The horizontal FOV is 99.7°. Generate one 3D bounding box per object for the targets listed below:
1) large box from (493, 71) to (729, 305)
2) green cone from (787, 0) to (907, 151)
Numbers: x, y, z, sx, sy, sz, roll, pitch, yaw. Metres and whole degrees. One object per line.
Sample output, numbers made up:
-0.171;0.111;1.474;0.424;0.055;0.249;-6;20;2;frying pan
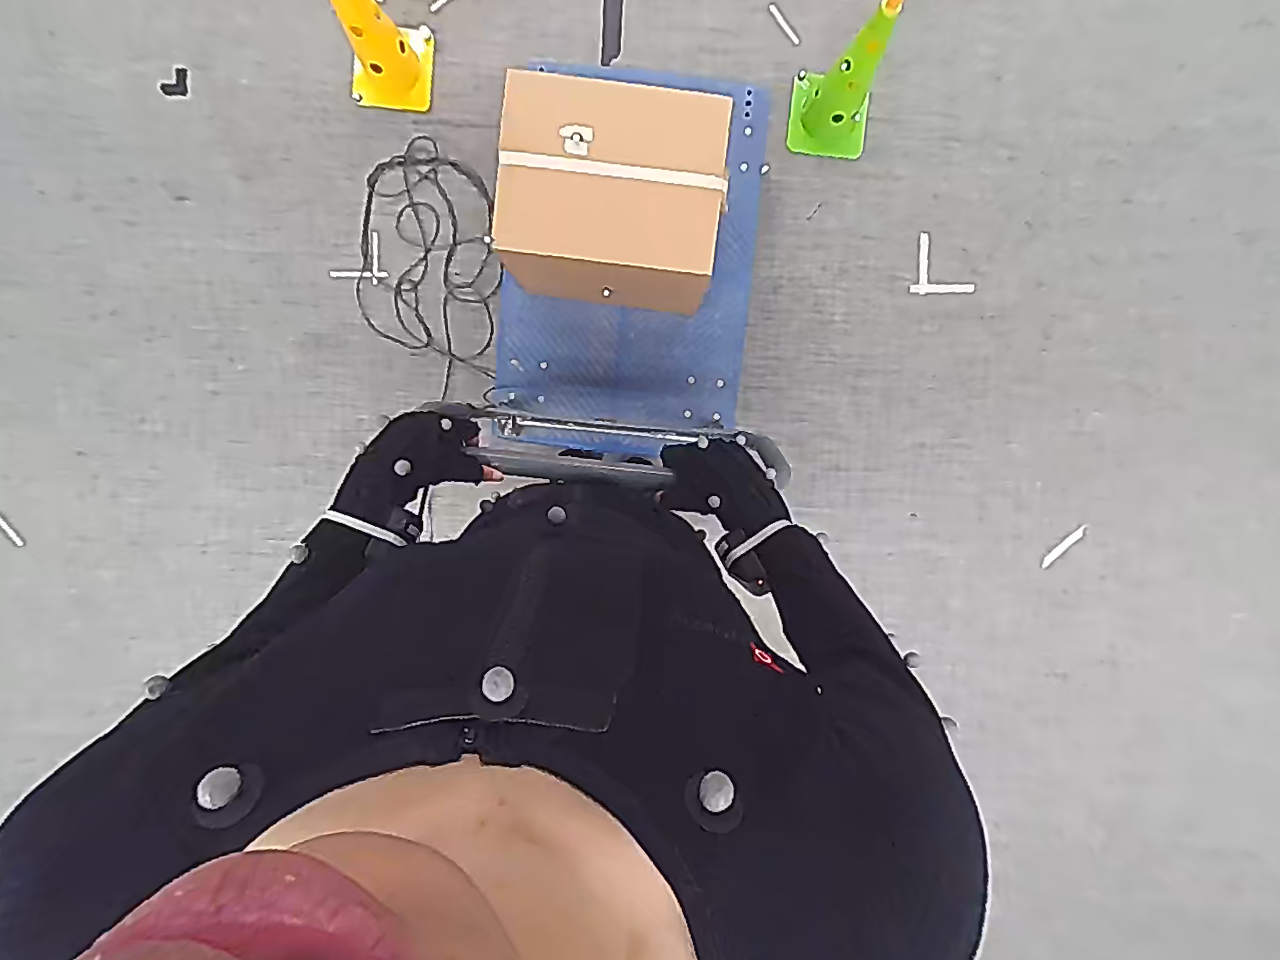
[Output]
-0.051;-0.565;1.113;0.408;0.320;0.320;7;94;0;large box
0.494;-0.955;1.234;0.202;0.368;0.200;6;94;-2;green cone
